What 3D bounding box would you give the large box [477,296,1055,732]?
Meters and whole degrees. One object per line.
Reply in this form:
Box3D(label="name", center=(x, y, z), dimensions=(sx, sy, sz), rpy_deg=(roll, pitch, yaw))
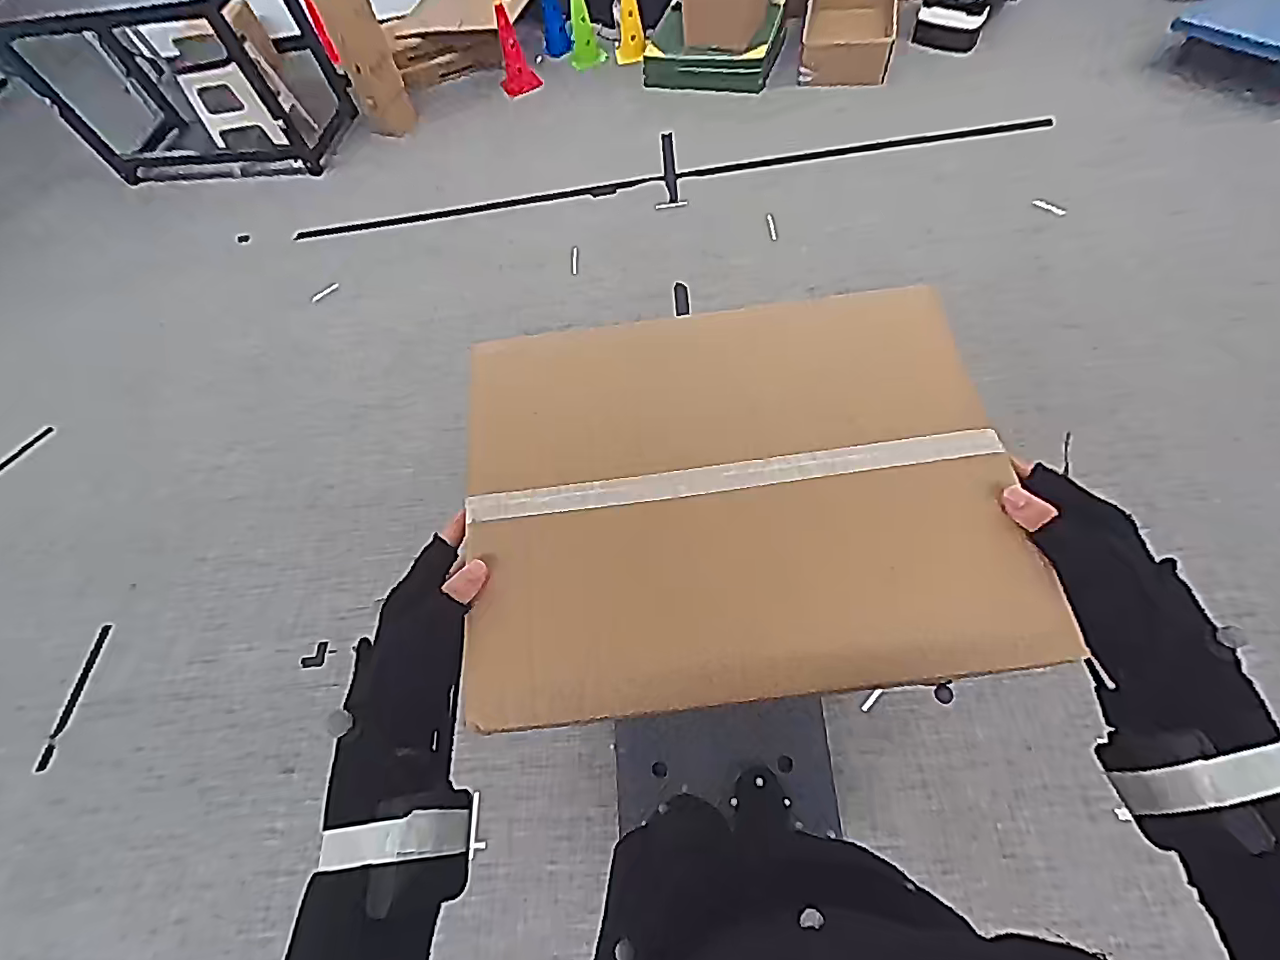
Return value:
Box3D(label="large box", center=(0.081, 0.060, 0.562), dimensions=(0.408, 0.320, 0.320), rpy_deg=(-8, 66, 1))
